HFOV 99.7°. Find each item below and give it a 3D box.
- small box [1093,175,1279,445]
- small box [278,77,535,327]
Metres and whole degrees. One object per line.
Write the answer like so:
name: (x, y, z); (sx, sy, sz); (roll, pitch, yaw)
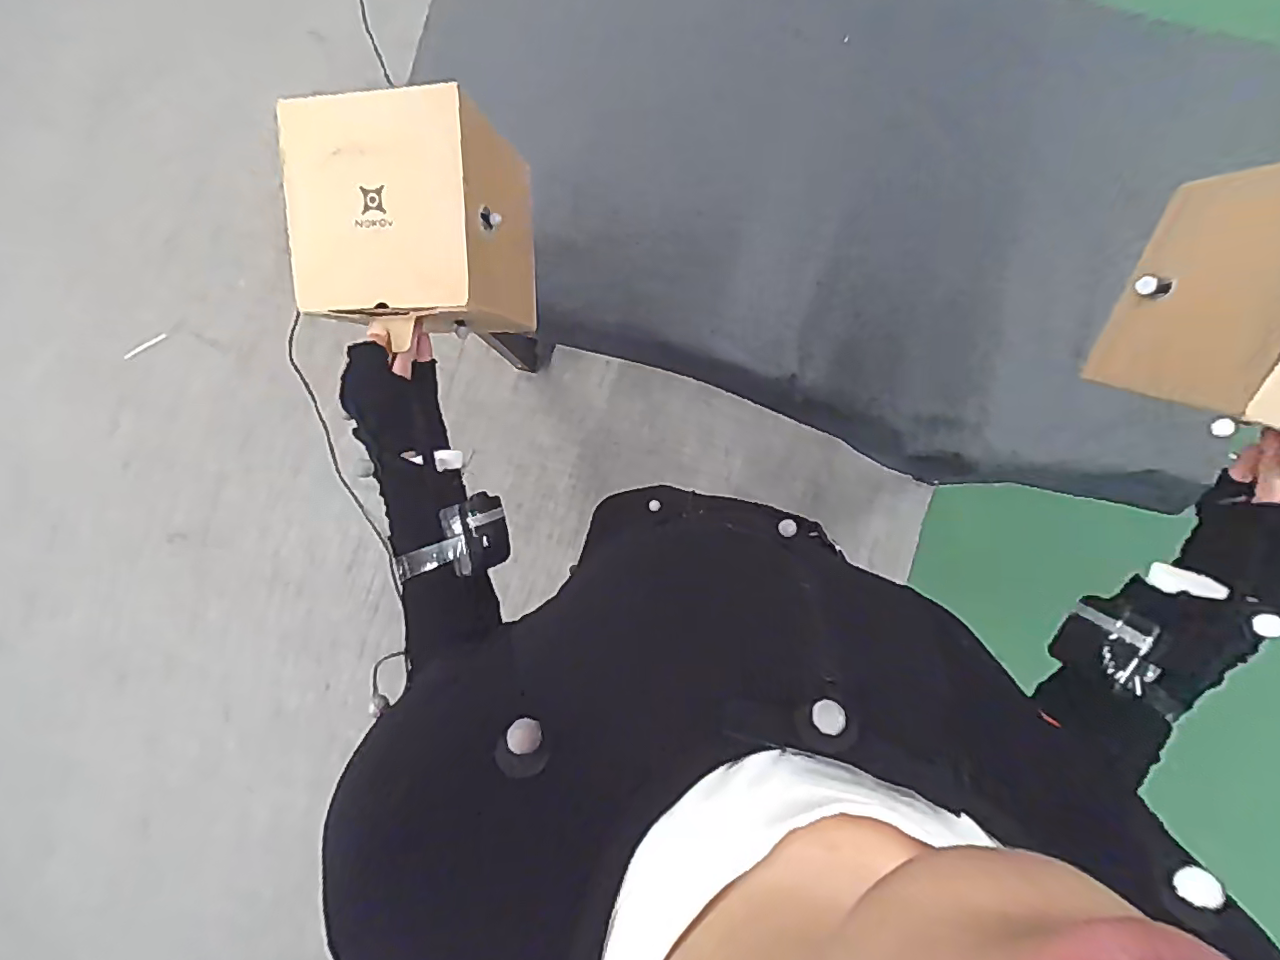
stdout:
small box: (0.516, -0.123, 0.422); (0.168, 0.176, 0.179); (14, 112, -1)
small box: (-0.207, -0.246, 0.527); (0.168, 0.176, 0.179); (1, 99, 8)
